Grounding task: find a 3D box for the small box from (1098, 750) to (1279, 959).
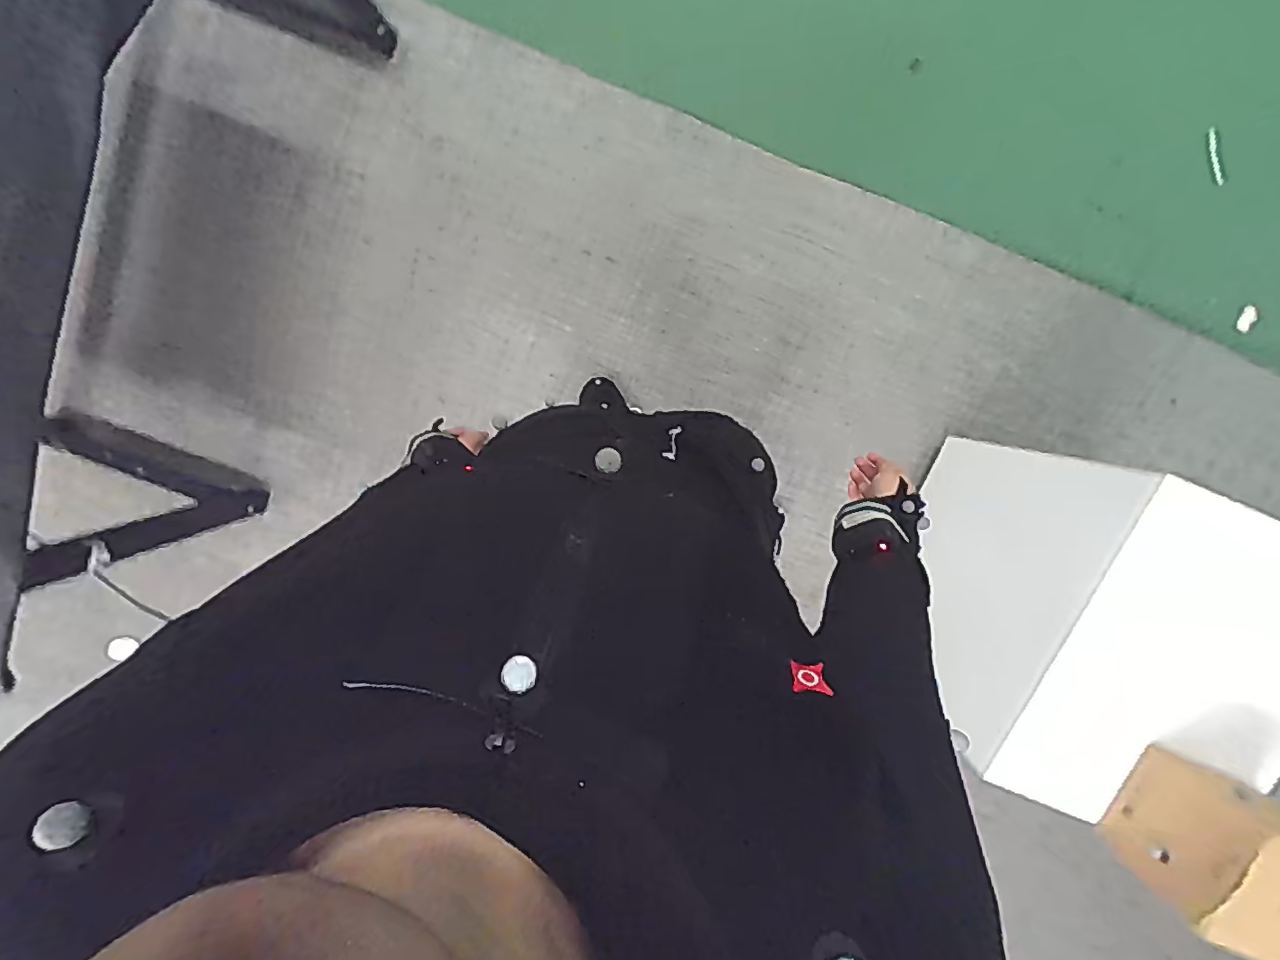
[{"bbox_3d":[0.795,0.507,0.737,0.179,0.176,0.168,23,100,-3],"label":"small box"}]
